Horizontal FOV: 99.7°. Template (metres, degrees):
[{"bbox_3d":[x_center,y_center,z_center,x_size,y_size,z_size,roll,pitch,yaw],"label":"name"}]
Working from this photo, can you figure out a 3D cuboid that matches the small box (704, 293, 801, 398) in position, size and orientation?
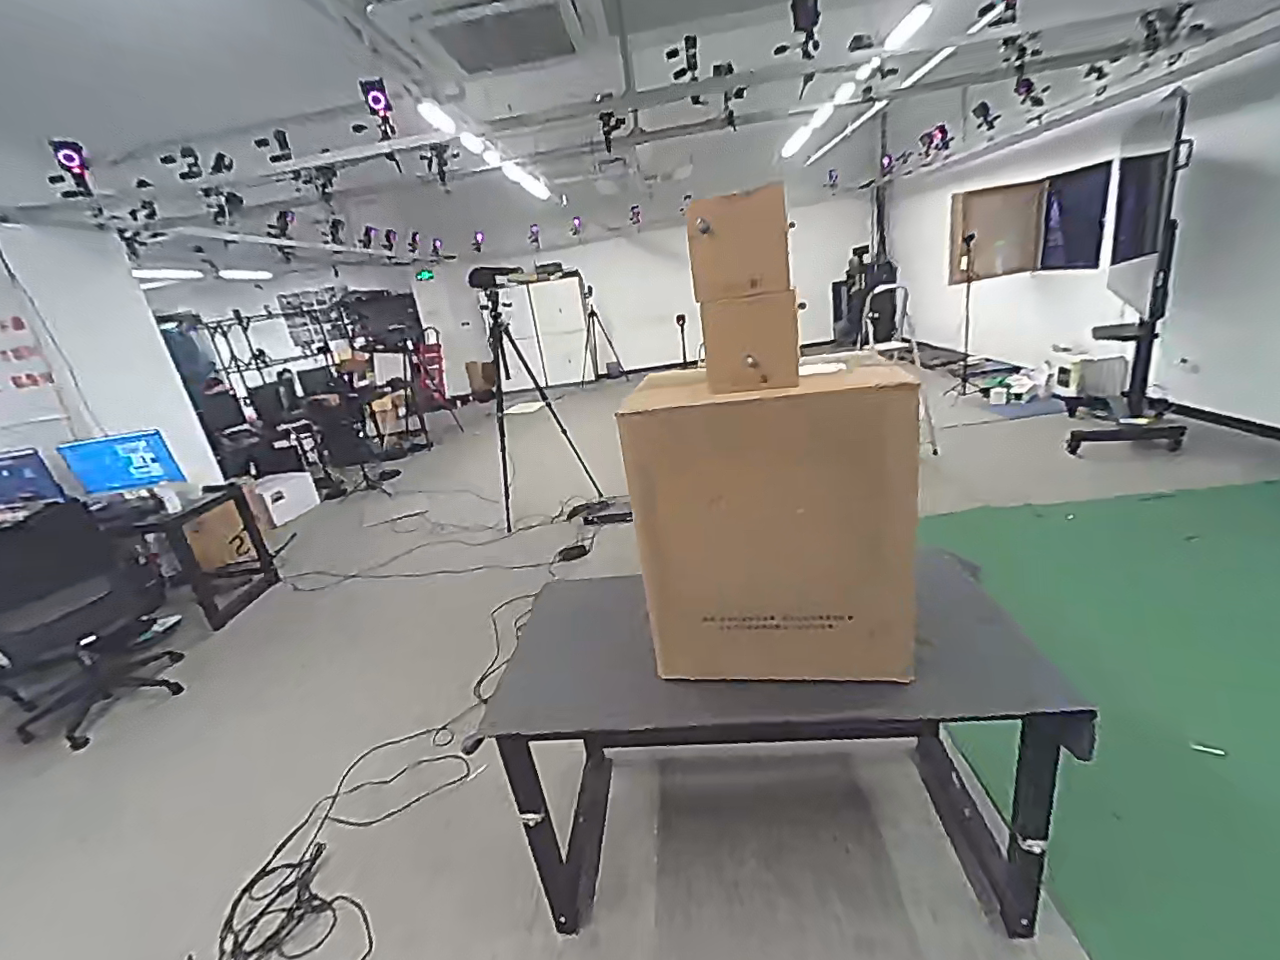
[{"bbox_3d":[0.224,-0.261,1.053,0.168,0.176,0.179,-2,23,17],"label":"small box"}]
